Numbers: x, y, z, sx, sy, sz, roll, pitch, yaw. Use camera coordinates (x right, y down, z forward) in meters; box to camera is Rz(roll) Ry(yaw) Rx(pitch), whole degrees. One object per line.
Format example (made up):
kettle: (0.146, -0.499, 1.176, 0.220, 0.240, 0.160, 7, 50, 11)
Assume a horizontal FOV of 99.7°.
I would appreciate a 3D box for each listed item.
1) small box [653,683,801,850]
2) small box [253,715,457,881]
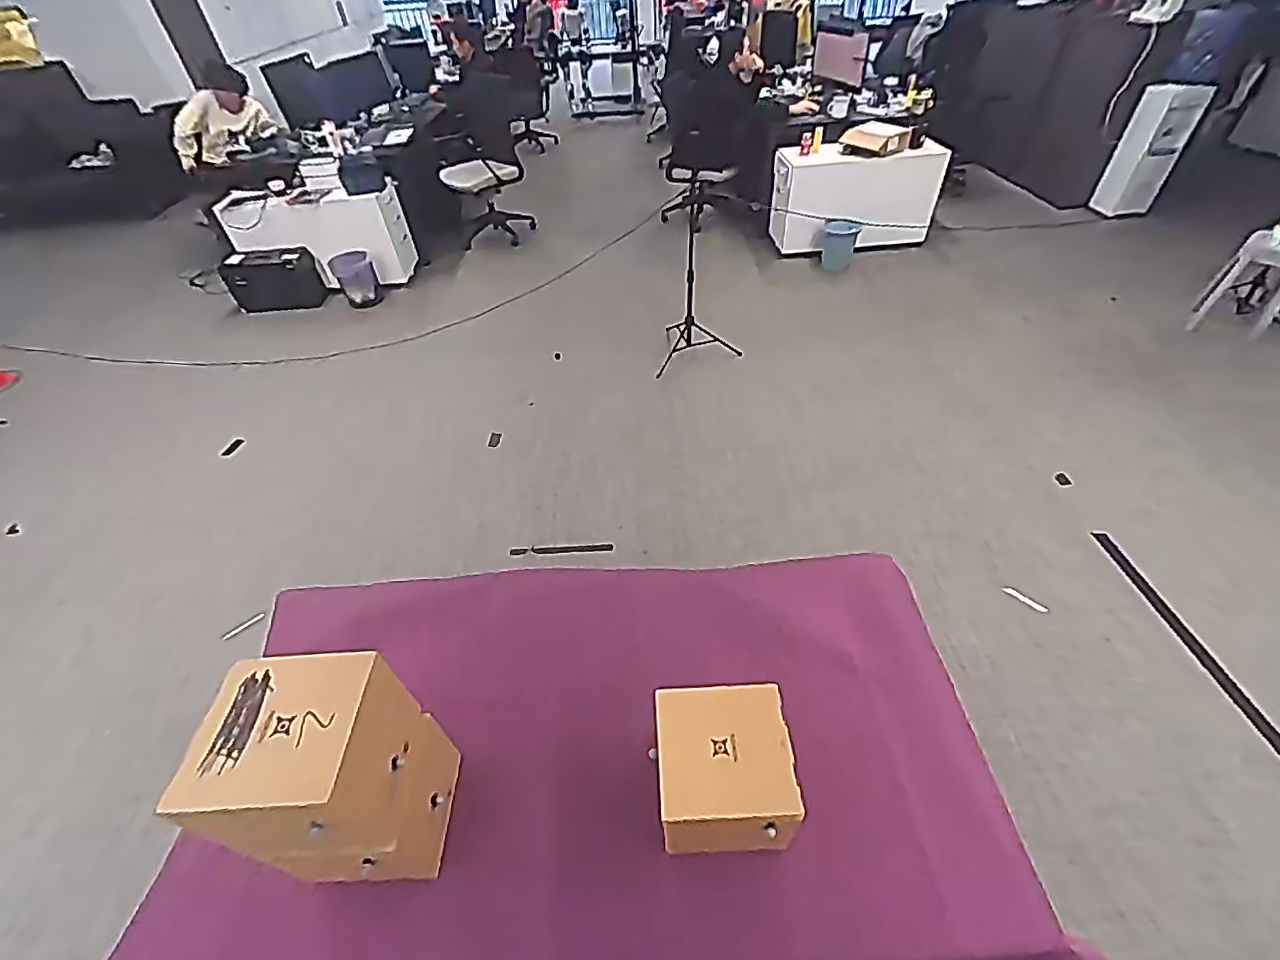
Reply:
small box: (0.112, 0.406, 0.762, 0.179, 0.176, 0.168, -3, 45, 1)
small box: (-0.375, 0.445, 0.756, 0.179, 0.176, 0.168, -3, 45, 1)
